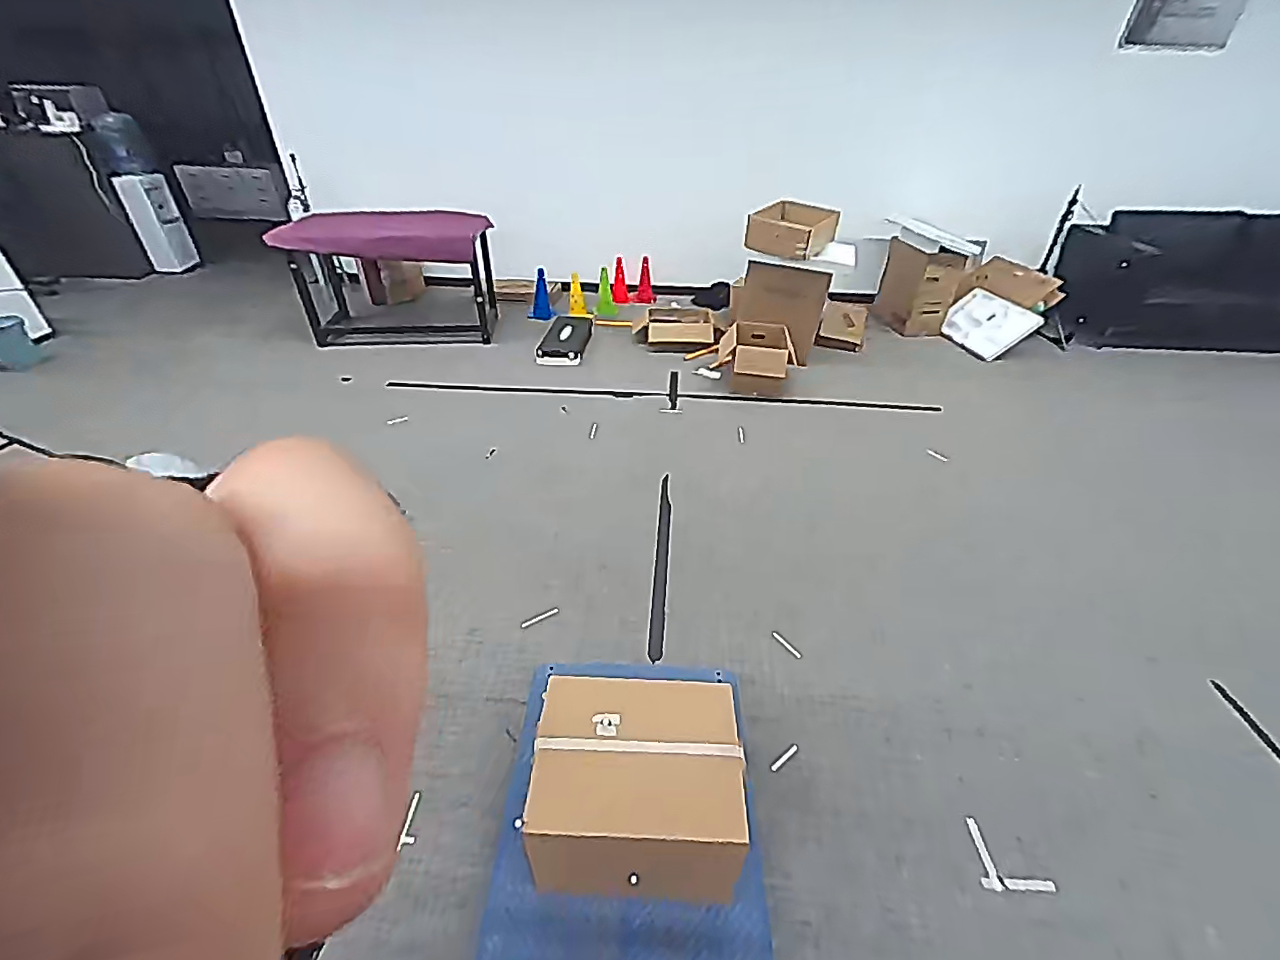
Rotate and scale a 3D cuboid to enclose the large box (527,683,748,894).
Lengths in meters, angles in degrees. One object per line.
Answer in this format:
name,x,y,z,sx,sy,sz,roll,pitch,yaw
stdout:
large box,-0.002,0.665,1.172,0.408,0.320,0.320,1,35,1
